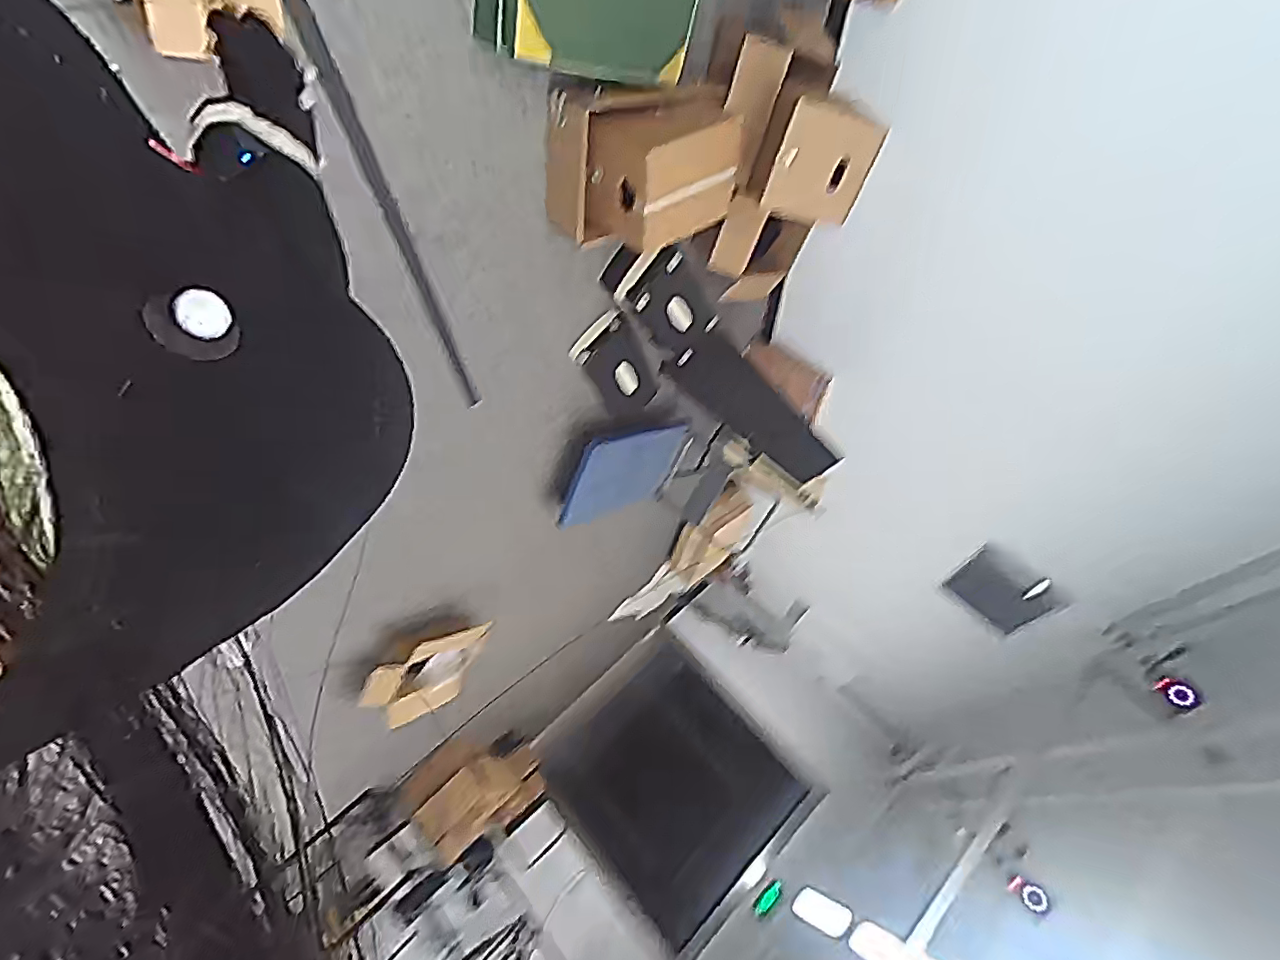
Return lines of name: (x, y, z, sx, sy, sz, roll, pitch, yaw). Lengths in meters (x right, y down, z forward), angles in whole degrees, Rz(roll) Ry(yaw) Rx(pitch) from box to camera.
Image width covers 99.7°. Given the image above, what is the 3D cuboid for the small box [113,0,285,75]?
small box: (-0.664, -0.736, 0.798, 0.179, 0.176, 0.168, -26, 150, -41)
